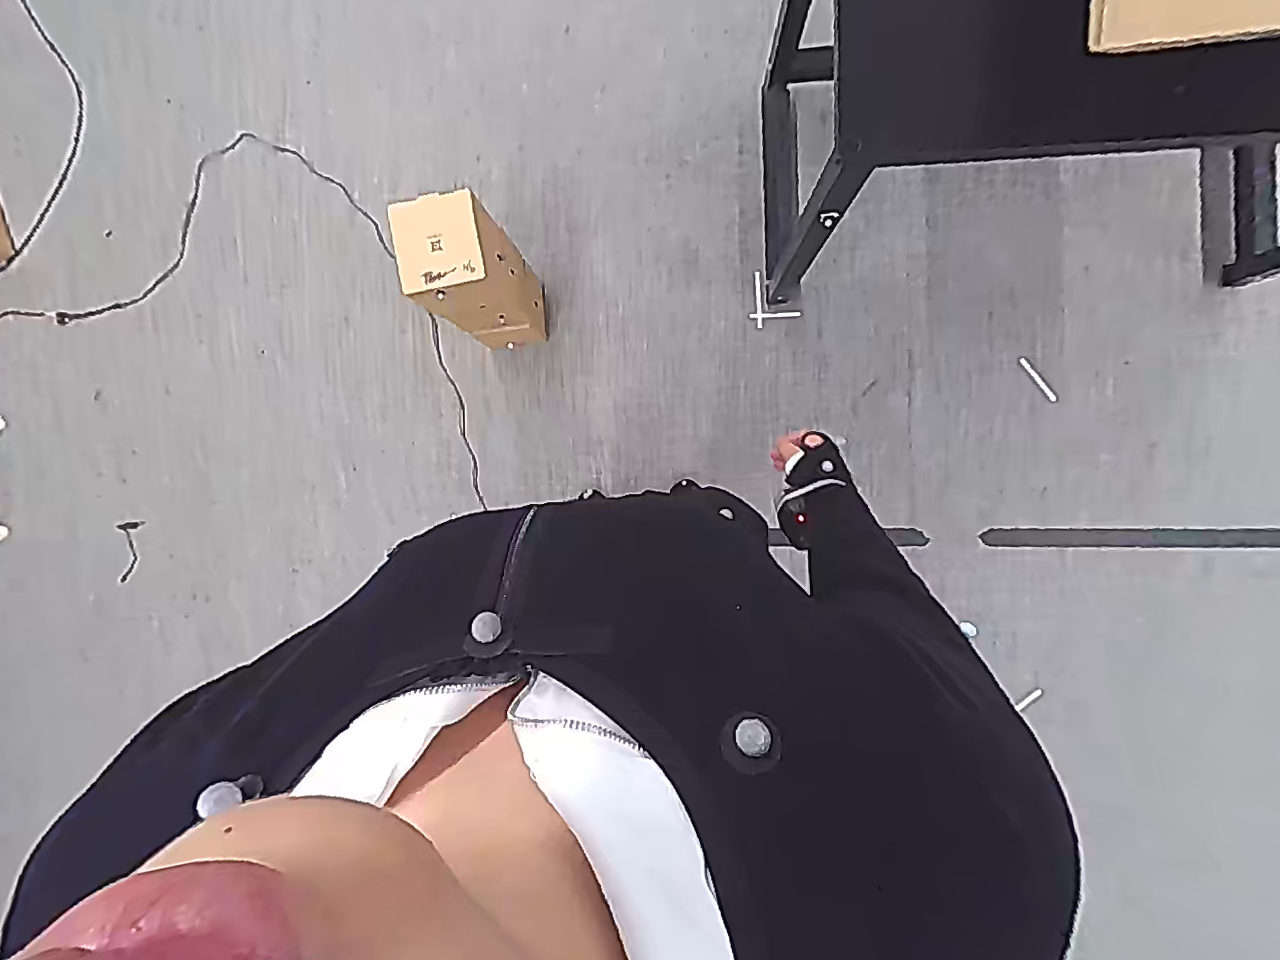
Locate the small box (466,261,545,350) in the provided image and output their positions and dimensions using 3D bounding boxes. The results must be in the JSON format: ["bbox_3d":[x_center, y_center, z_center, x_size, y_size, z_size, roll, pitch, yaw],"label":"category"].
[{"bbox_3d":[-0.355,-0.454,1.429,0.168,0.176,0.179,-5,92,4],"label":"small box"}]

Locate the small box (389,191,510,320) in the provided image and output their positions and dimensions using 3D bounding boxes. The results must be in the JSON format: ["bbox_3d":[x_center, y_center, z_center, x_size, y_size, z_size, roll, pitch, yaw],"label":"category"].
[{"bbox_3d":[-0.380,-0.449,1.104,0.168,0.176,0.179,-10,90,4],"label":"small box"}]

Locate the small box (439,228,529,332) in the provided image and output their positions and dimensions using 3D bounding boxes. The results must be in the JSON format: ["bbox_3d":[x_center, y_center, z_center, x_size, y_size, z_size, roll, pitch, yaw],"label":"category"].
[{"bbox_3d":[-0.369,-0.457,1.268,0.168,0.176,0.179,-8,89,4],"label":"small box"}]
